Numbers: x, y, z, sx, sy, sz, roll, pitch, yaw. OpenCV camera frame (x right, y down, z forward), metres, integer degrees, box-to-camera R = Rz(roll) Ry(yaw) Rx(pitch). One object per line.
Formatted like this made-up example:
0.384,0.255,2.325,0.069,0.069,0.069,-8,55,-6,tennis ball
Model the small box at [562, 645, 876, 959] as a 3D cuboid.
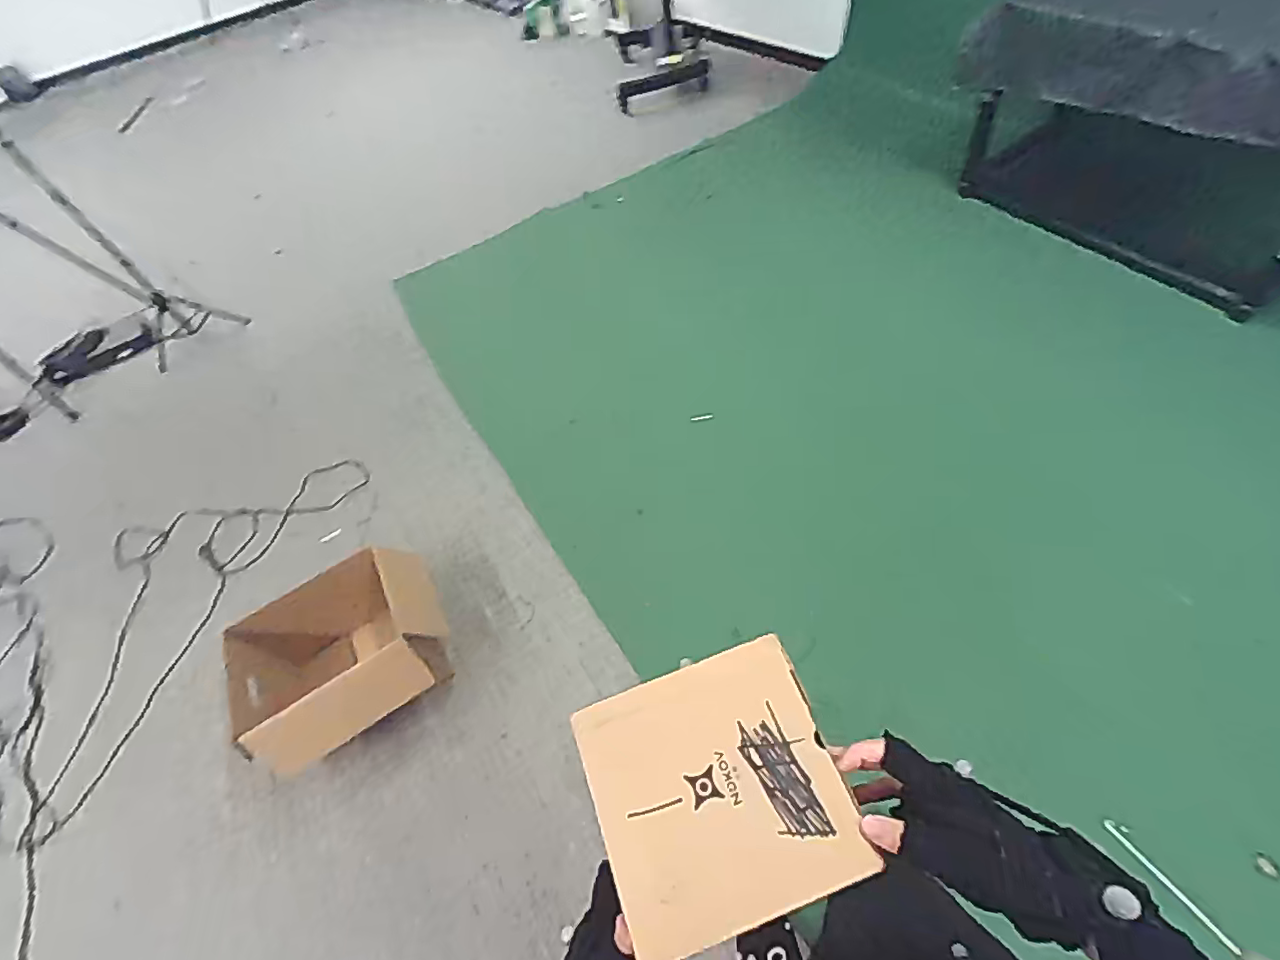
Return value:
0.053,0.259,0.448,0.179,0.176,0.168,-20,61,-6,small box
